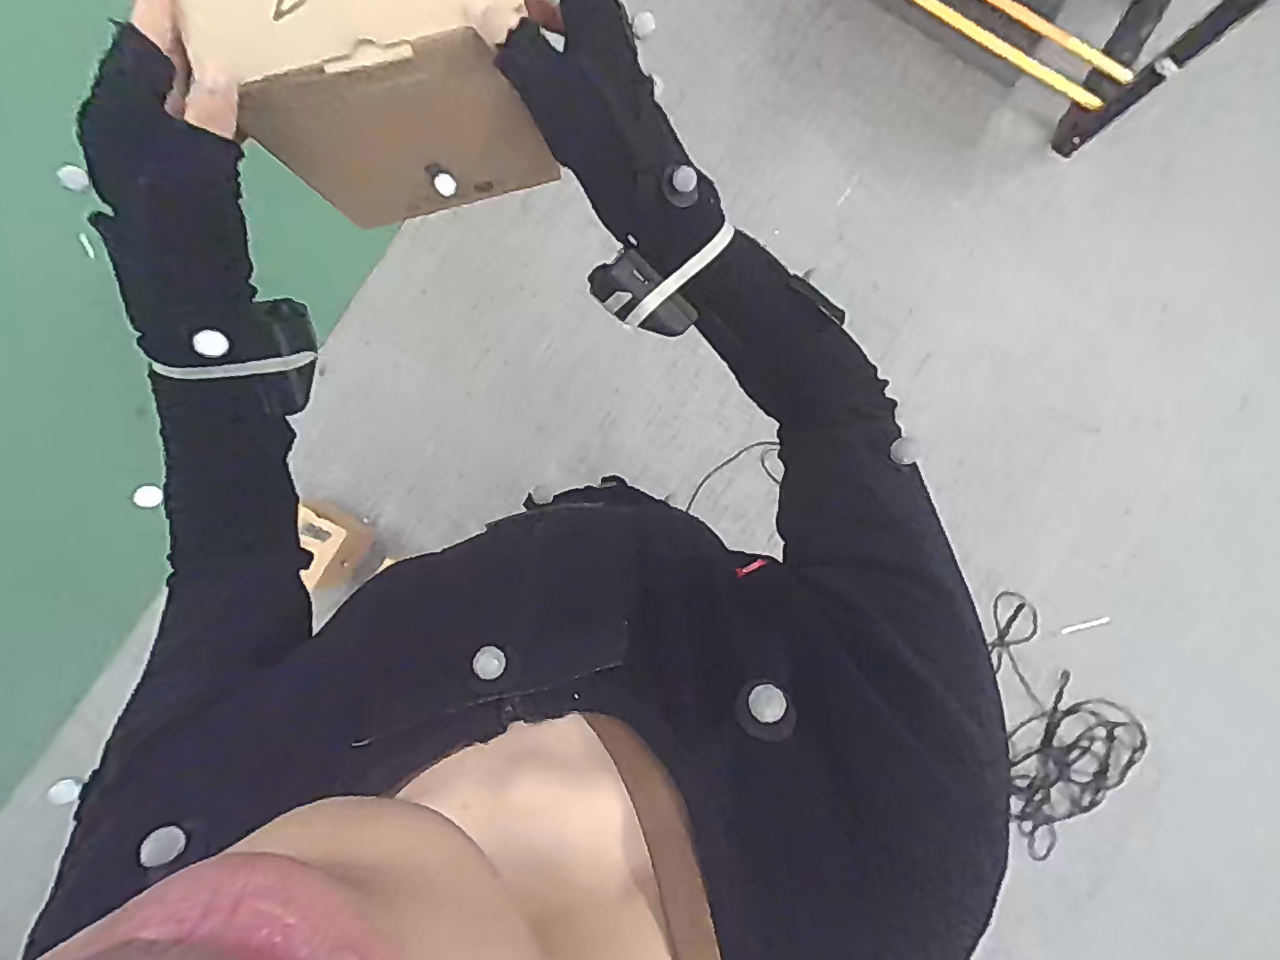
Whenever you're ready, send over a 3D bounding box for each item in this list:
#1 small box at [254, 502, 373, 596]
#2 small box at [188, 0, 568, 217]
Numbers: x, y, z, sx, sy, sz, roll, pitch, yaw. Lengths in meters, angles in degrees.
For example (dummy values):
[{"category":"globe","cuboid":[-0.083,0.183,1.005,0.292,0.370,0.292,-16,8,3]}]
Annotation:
[{"category":"small box","cuboid":[-0.818,0.169,1.382,0.168,0.176,0.179,30,87,1]},{"category":"small box","cuboid":[-0.149,-0.299,0.335,0.168,0.176,0.179,-14,94,-1]}]
